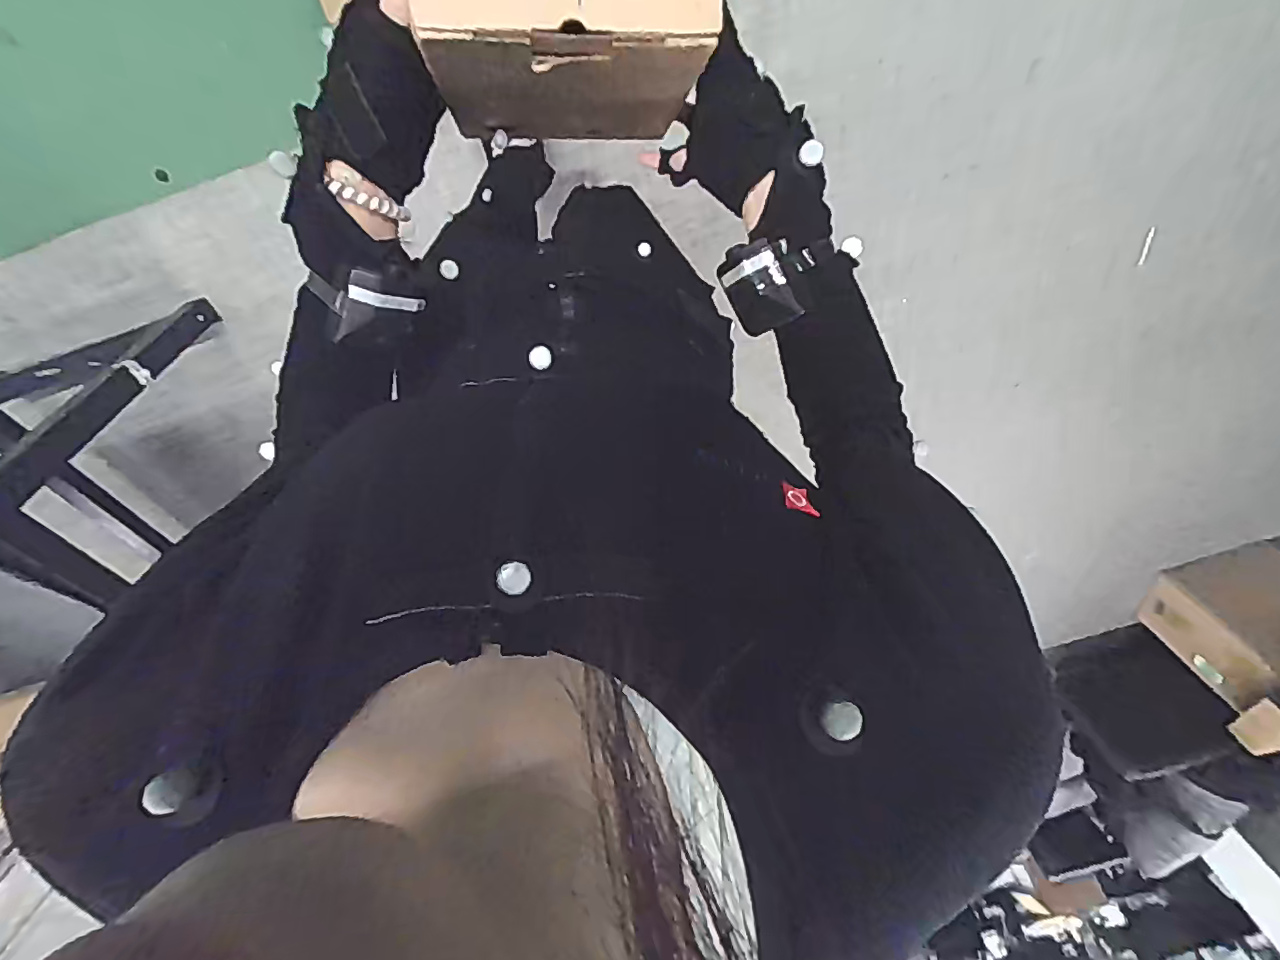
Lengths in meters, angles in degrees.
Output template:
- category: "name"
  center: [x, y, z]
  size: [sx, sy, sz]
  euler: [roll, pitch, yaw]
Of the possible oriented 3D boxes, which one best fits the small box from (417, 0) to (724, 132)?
- category: "small box"
  center: [-0.049, -0.342, 0.342]
  size: [0.168, 0.176, 0.179]
  euler: [-5, 106, -8]
